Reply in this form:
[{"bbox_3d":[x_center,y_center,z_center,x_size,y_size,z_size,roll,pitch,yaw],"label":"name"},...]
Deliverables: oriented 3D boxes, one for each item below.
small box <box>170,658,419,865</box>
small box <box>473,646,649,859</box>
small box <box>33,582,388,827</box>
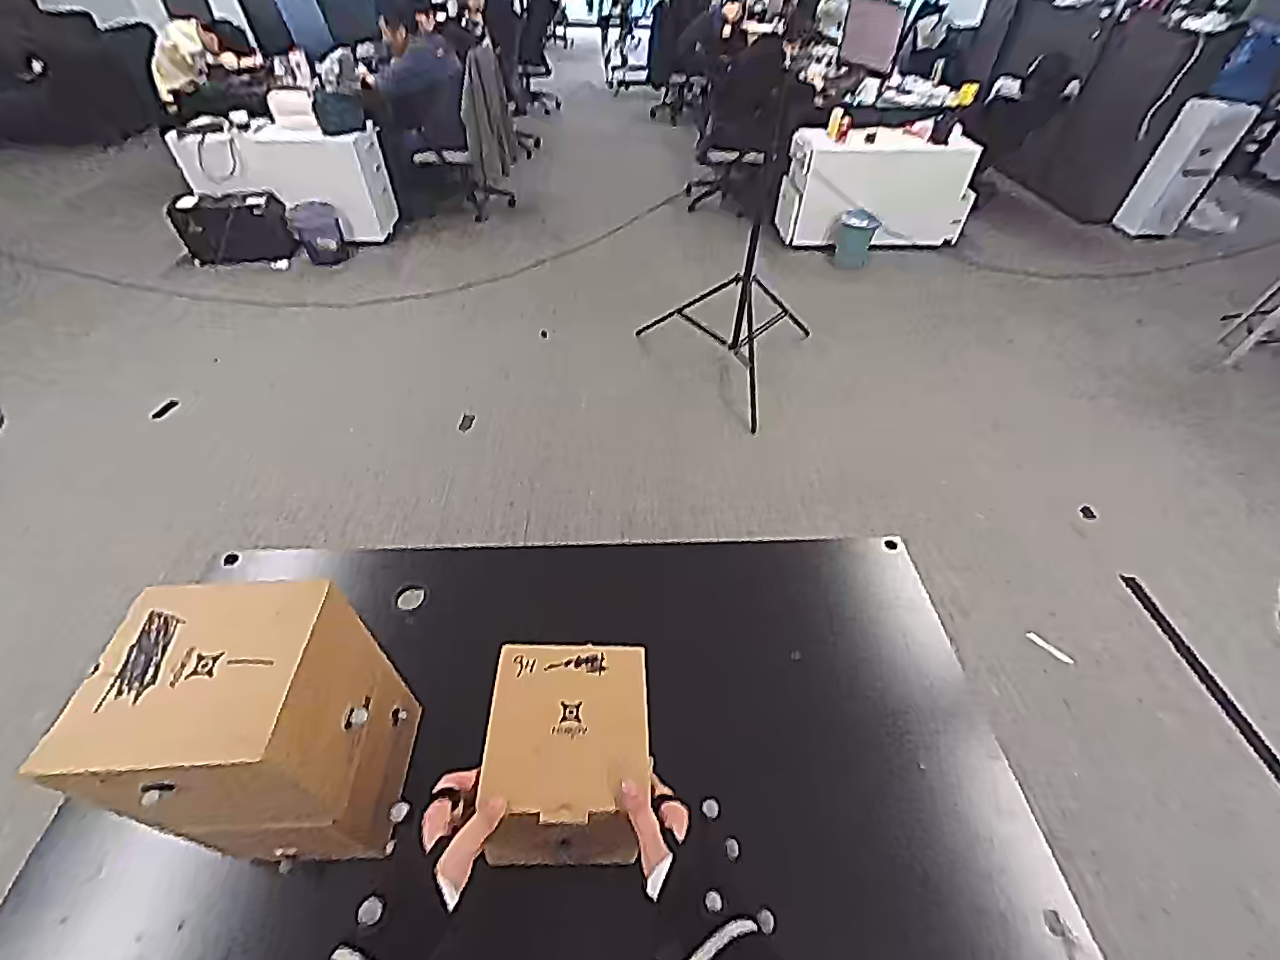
[{"bbox_3d":[-0.377,0.331,0.637,0.168,0.176,0.179,-2,46,-2],"label":"small box"},{"bbox_3d":[-0.079,0.309,0.610,0.168,0.176,0.179,3,43,-5],"label":"small box"},{"bbox_3d":[-0.374,0.216,0.518,0.179,0.176,0.168,-2,46,-3],"label":"small box"}]
